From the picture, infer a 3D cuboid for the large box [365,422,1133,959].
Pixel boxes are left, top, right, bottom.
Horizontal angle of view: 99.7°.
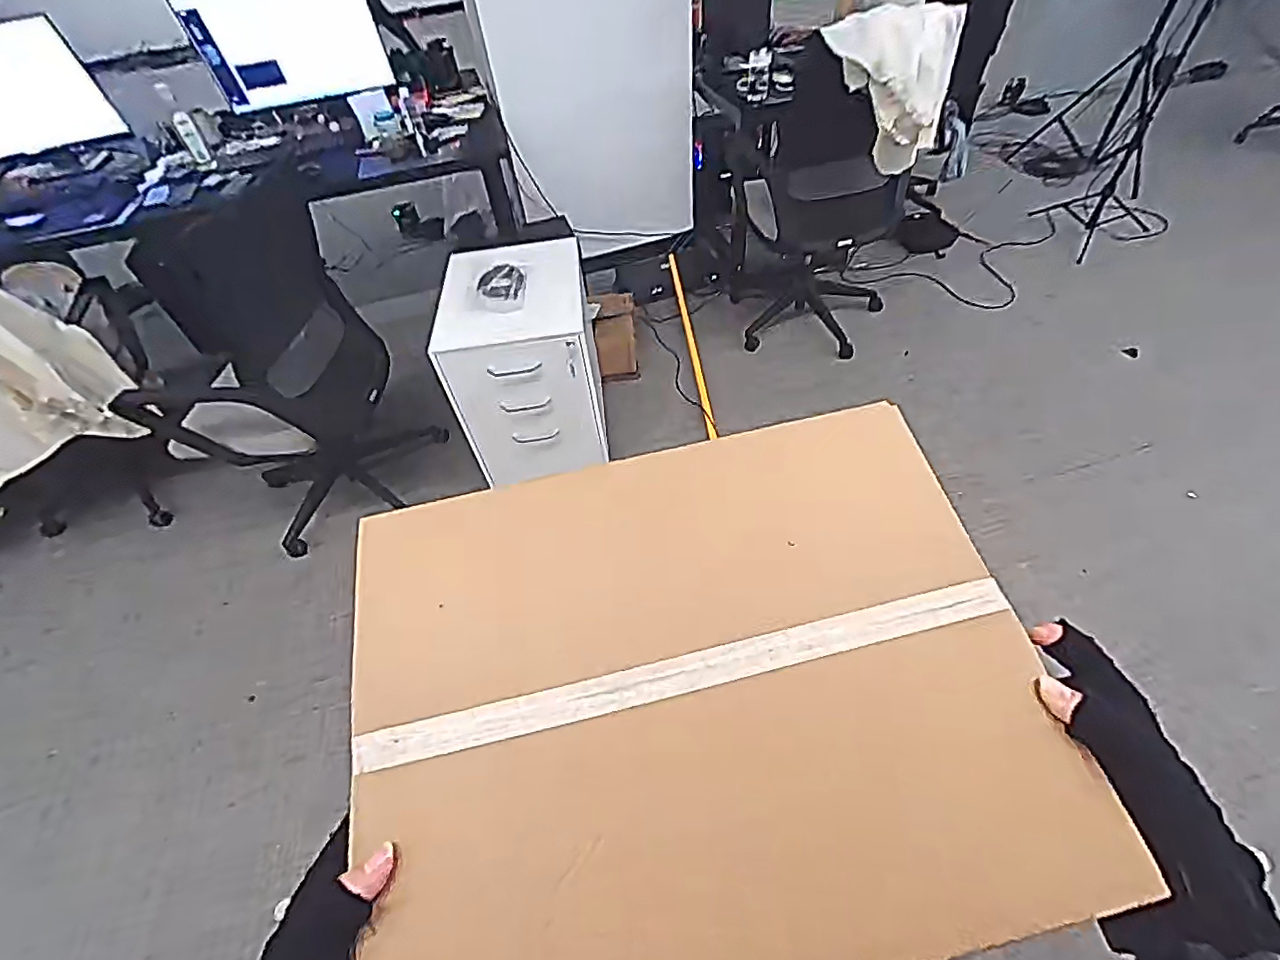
[{"bbox_3d":[0.041,0.199,0.466,0.408,0.320,0.320,-13,61,-3],"label":"large box"}]
